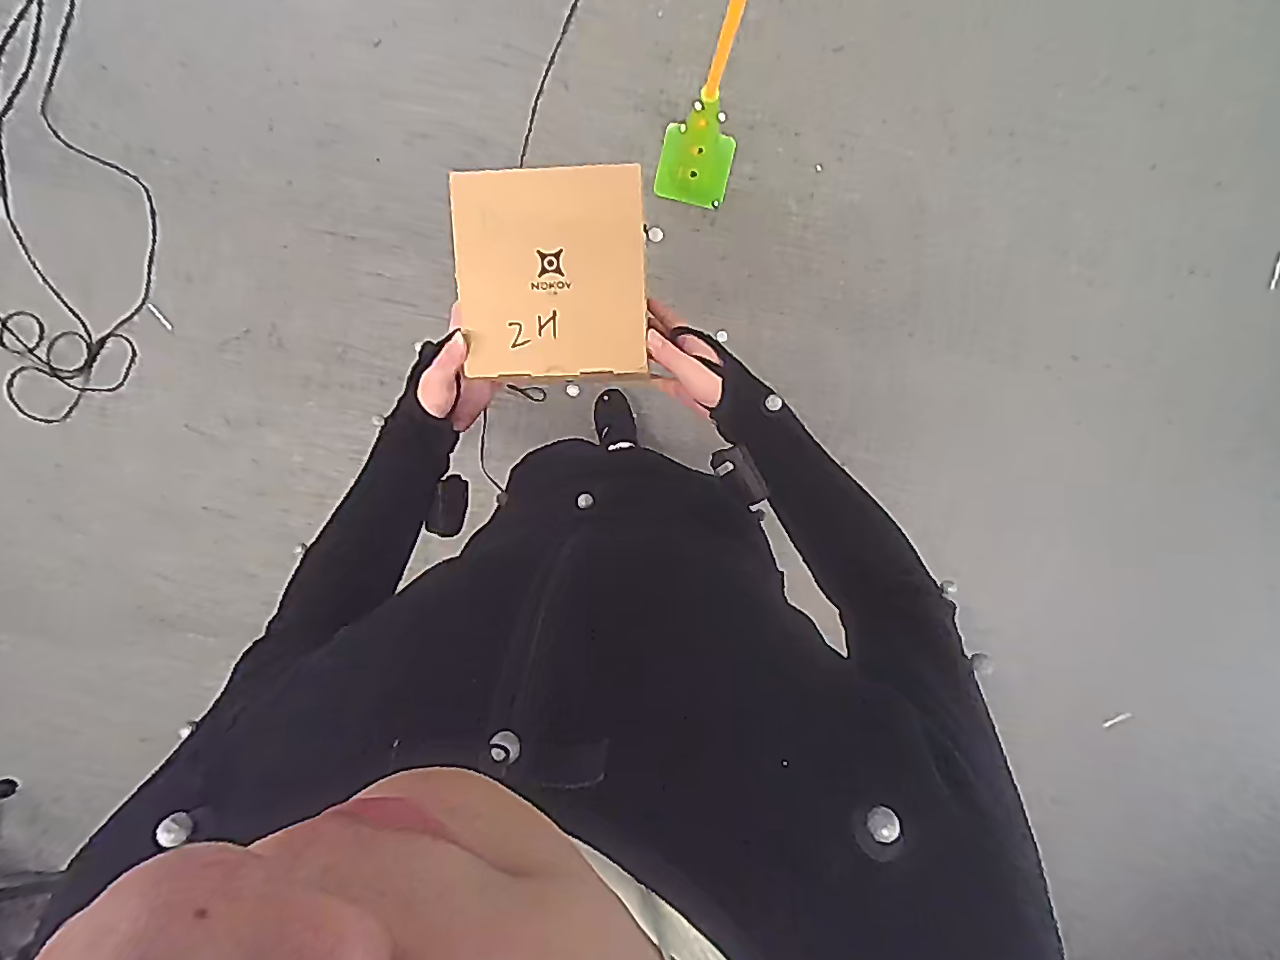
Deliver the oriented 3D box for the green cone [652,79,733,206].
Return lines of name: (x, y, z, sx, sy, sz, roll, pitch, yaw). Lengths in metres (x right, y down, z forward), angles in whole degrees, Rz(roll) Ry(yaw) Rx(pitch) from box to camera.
green cone: (0.147, -0.874, 1.353, 0.202, 0.368, 0.200, 13, 96, -1)
